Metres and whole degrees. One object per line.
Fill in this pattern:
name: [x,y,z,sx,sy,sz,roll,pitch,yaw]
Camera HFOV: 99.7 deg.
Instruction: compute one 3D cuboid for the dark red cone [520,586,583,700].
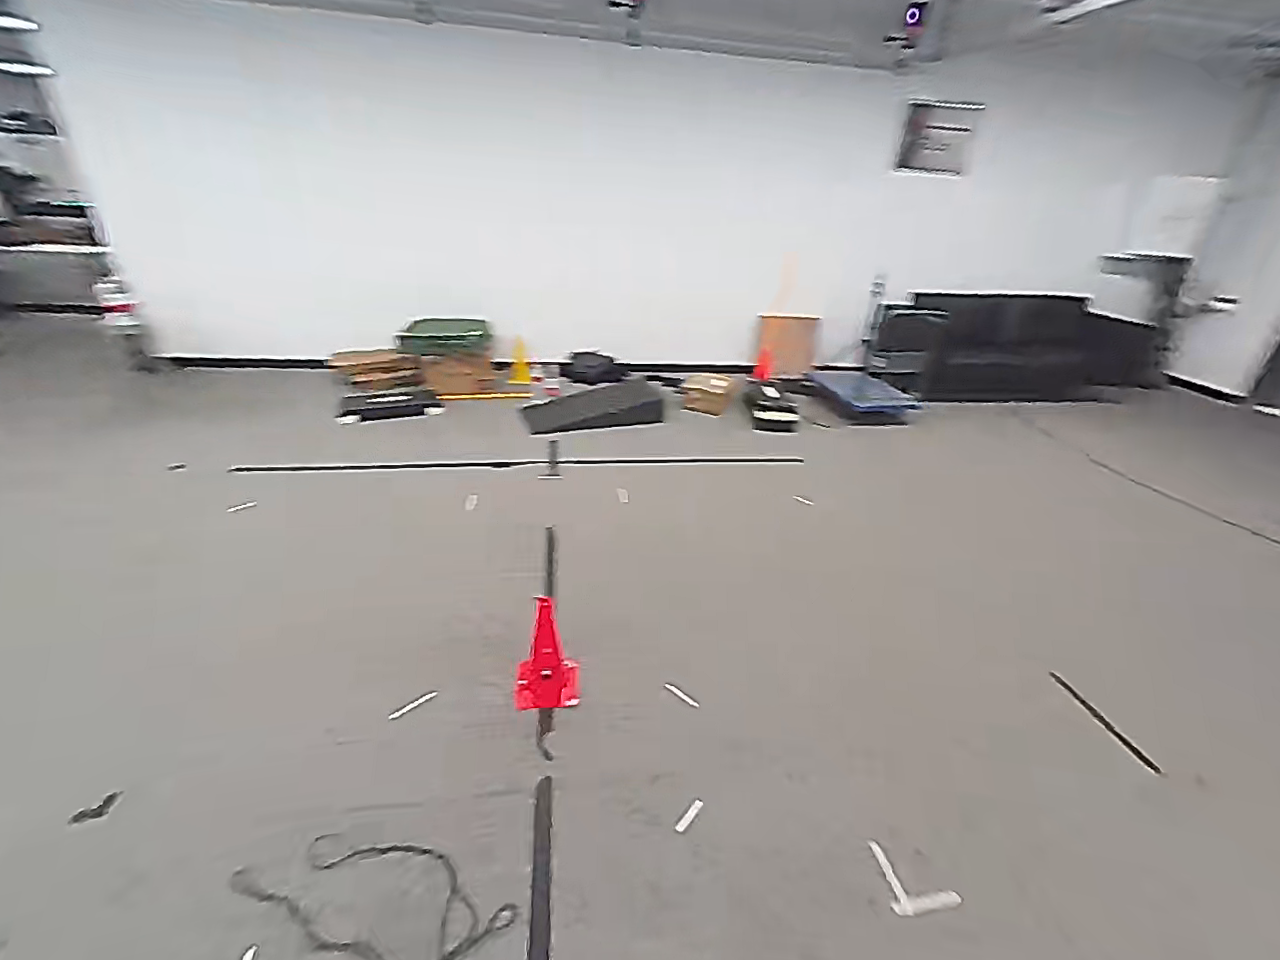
dark red cone: [-0.286,0.498,1.711,0.201,0.394,0.202,-2,28,-8]
